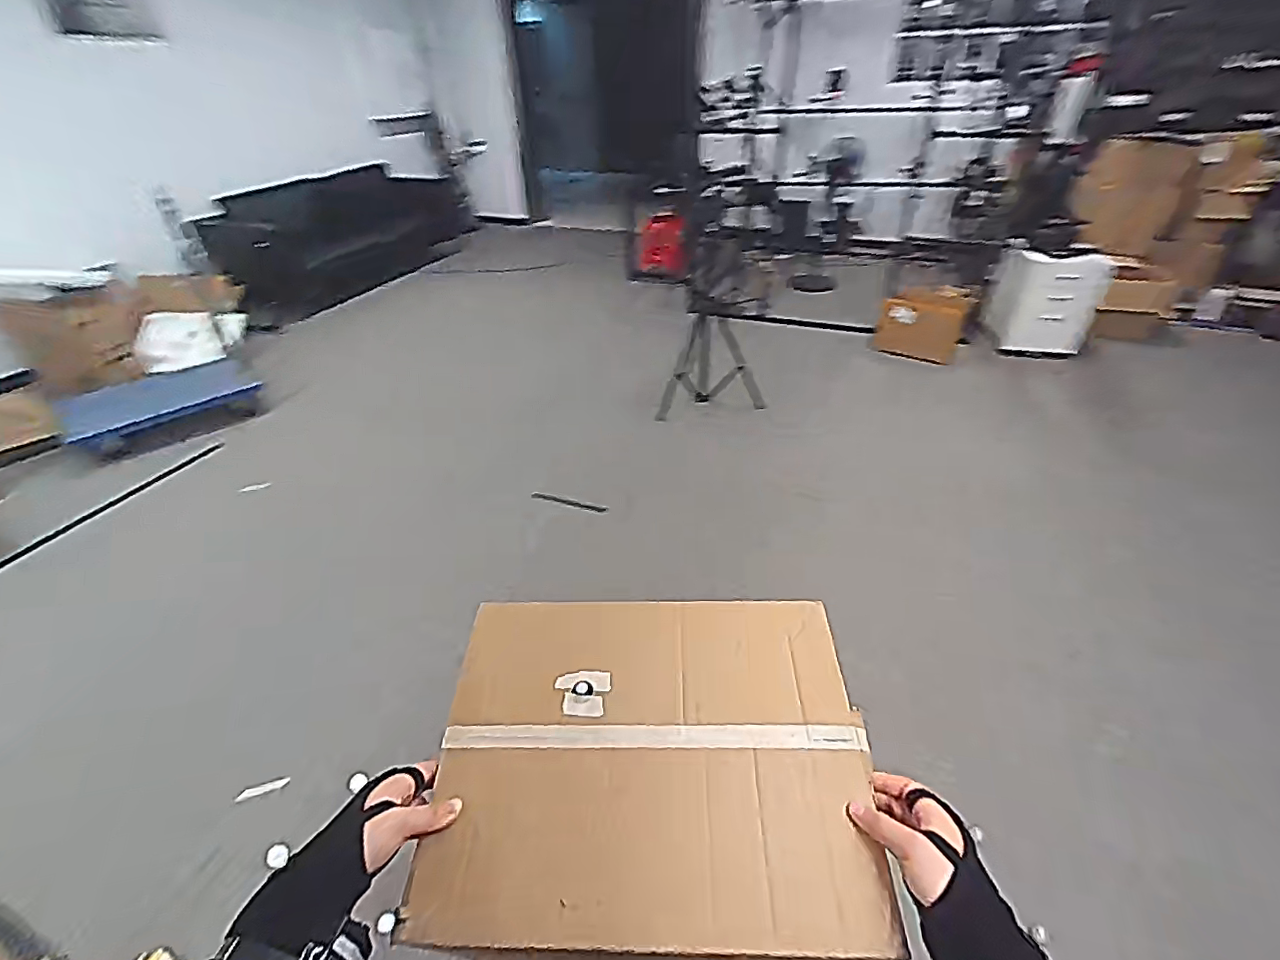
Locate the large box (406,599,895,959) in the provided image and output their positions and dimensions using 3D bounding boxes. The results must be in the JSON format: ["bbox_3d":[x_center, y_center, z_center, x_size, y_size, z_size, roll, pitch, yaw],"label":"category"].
[{"bbox_3d":[0.016,0.366,0.641,0.408,0.320,0.320,-3,43,3],"label":"large box"}]
